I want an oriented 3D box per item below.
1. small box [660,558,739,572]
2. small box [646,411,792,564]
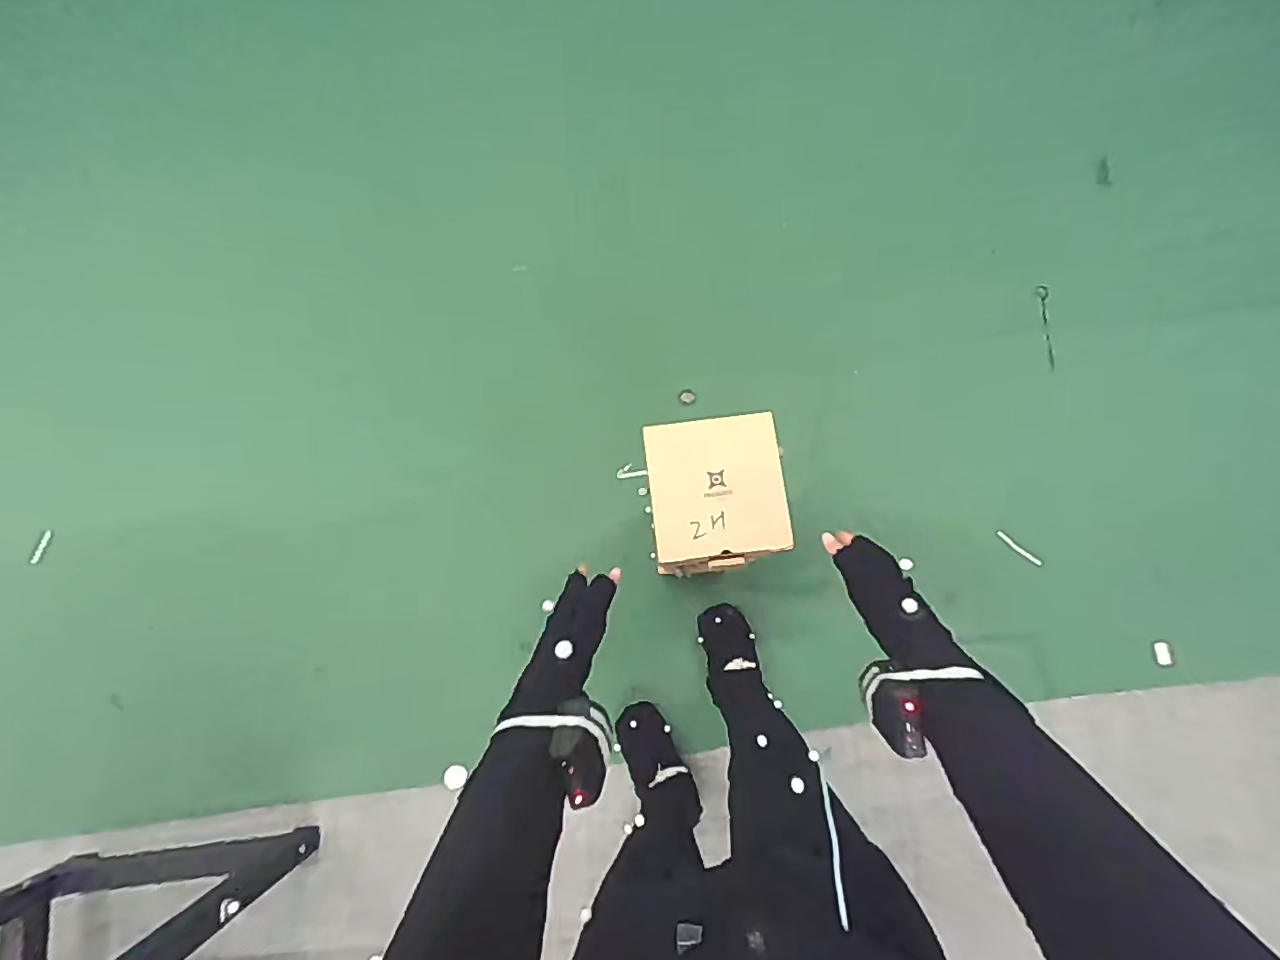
[{"bbox_3d":[0.124,0.116,1.231,0.168,0.176,0.179,-5,81,2],"label":"small box"},{"bbox_3d":[0.097,0.019,0.747,0.168,0.176,0.179,-7,80,1],"label":"small box"}]
